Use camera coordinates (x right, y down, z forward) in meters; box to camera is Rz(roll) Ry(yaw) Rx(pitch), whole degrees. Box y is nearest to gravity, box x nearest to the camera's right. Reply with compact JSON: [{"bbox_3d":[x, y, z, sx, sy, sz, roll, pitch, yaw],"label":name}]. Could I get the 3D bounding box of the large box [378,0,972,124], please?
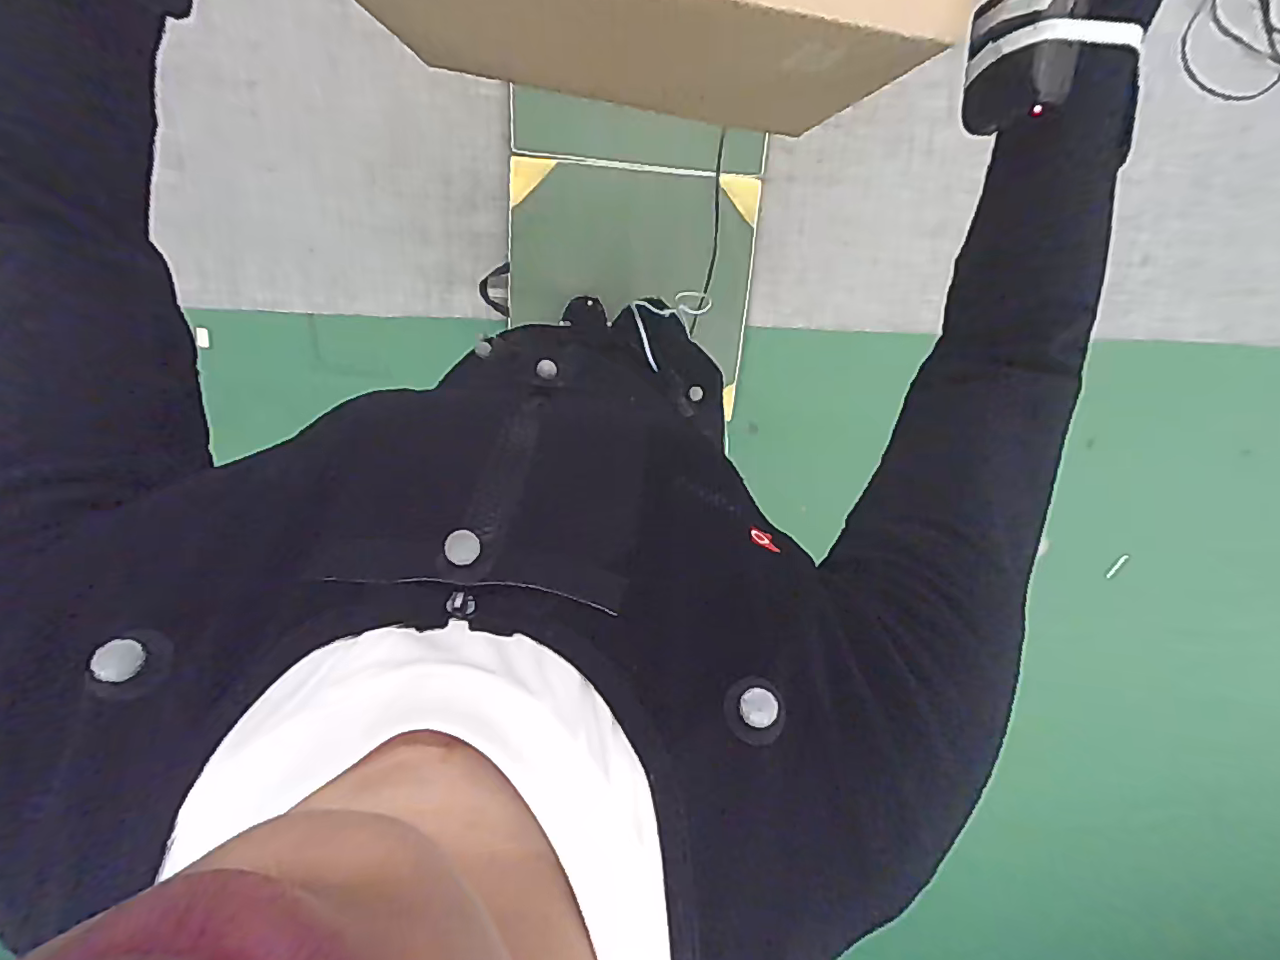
[{"bbox_3d":[0.009,-0.487,0.380,0.408,0.320,0.320,6,114,-6],"label":"large box"}]
